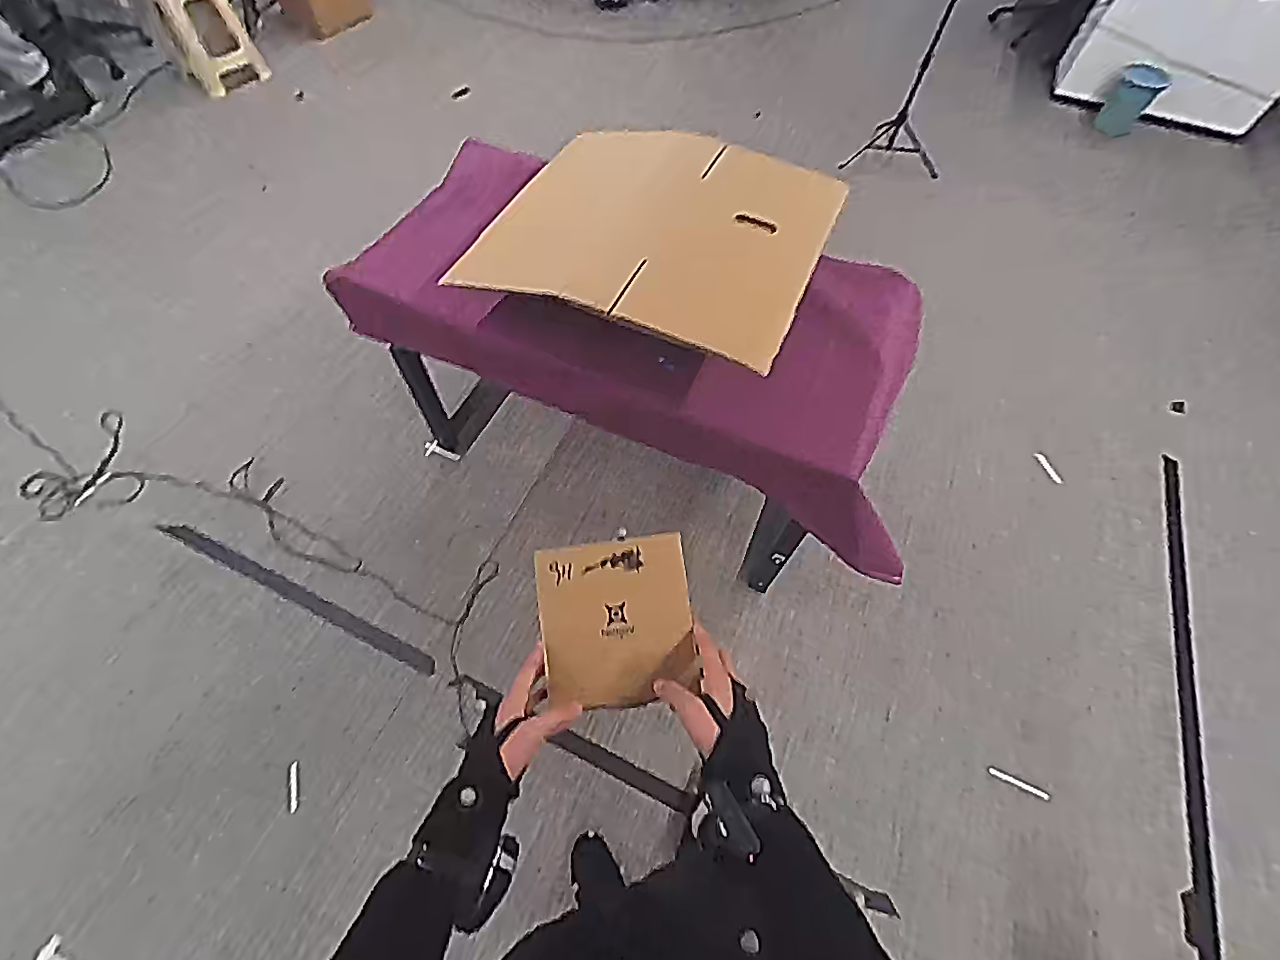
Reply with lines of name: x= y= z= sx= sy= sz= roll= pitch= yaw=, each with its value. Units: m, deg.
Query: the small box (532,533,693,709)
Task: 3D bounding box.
small box: x=-0.031 y=0.162 z=0.671 sx=0.168 sy=0.176 sz=0.179 roll=-7 pitch=82 yaw=-1
